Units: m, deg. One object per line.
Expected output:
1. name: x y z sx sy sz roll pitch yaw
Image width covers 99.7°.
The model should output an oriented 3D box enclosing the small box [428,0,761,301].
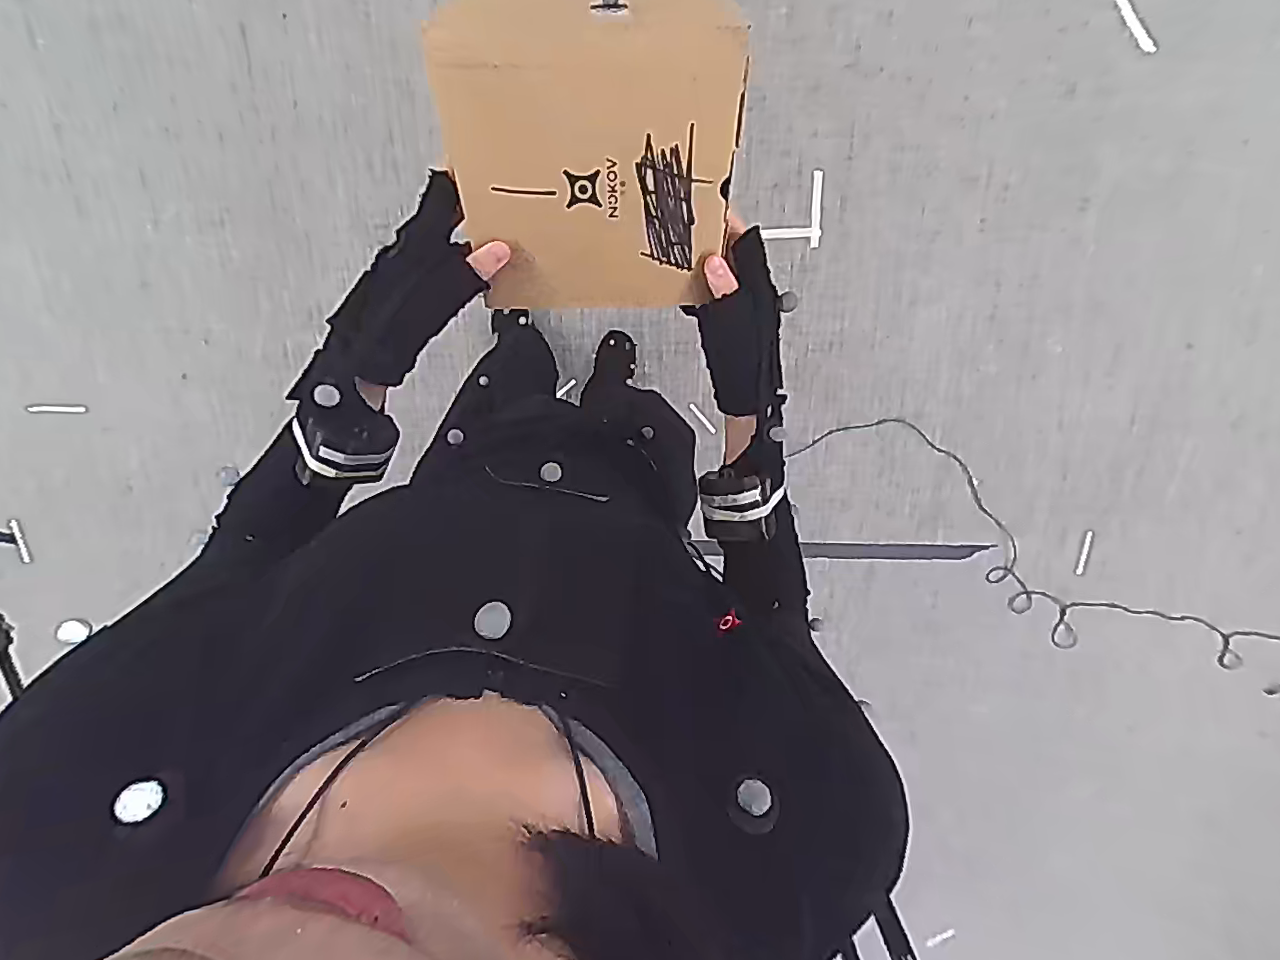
1. small box: -0.028 -0.247 0.389 0.179 0.176 0.168 -1 139 -2
